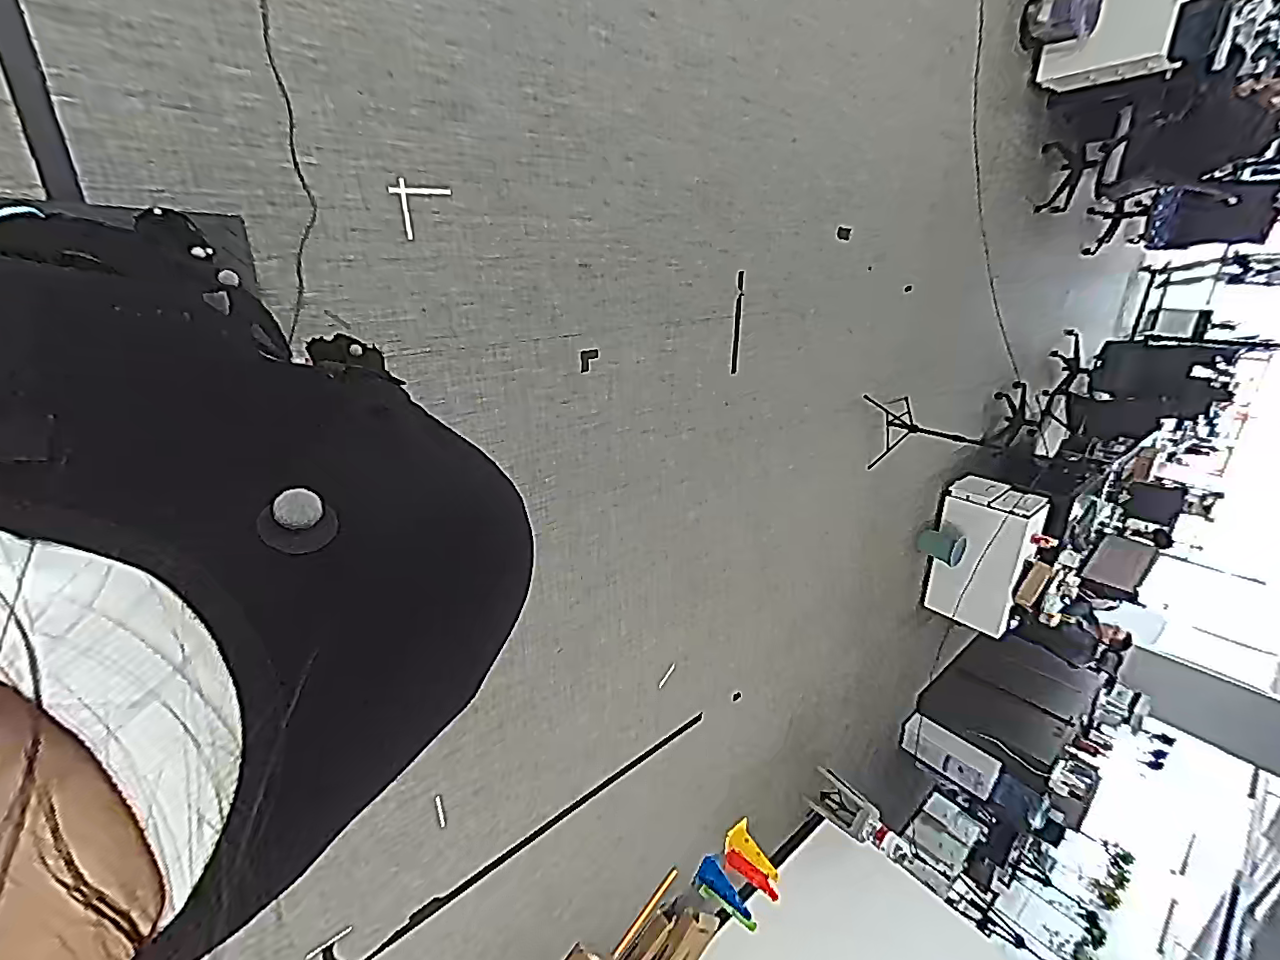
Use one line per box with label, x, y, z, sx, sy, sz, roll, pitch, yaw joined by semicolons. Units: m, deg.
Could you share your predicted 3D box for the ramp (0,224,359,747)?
ramp;-0.966;0.003;1.124;0.509;0.206;0.991;-17;115;-34
